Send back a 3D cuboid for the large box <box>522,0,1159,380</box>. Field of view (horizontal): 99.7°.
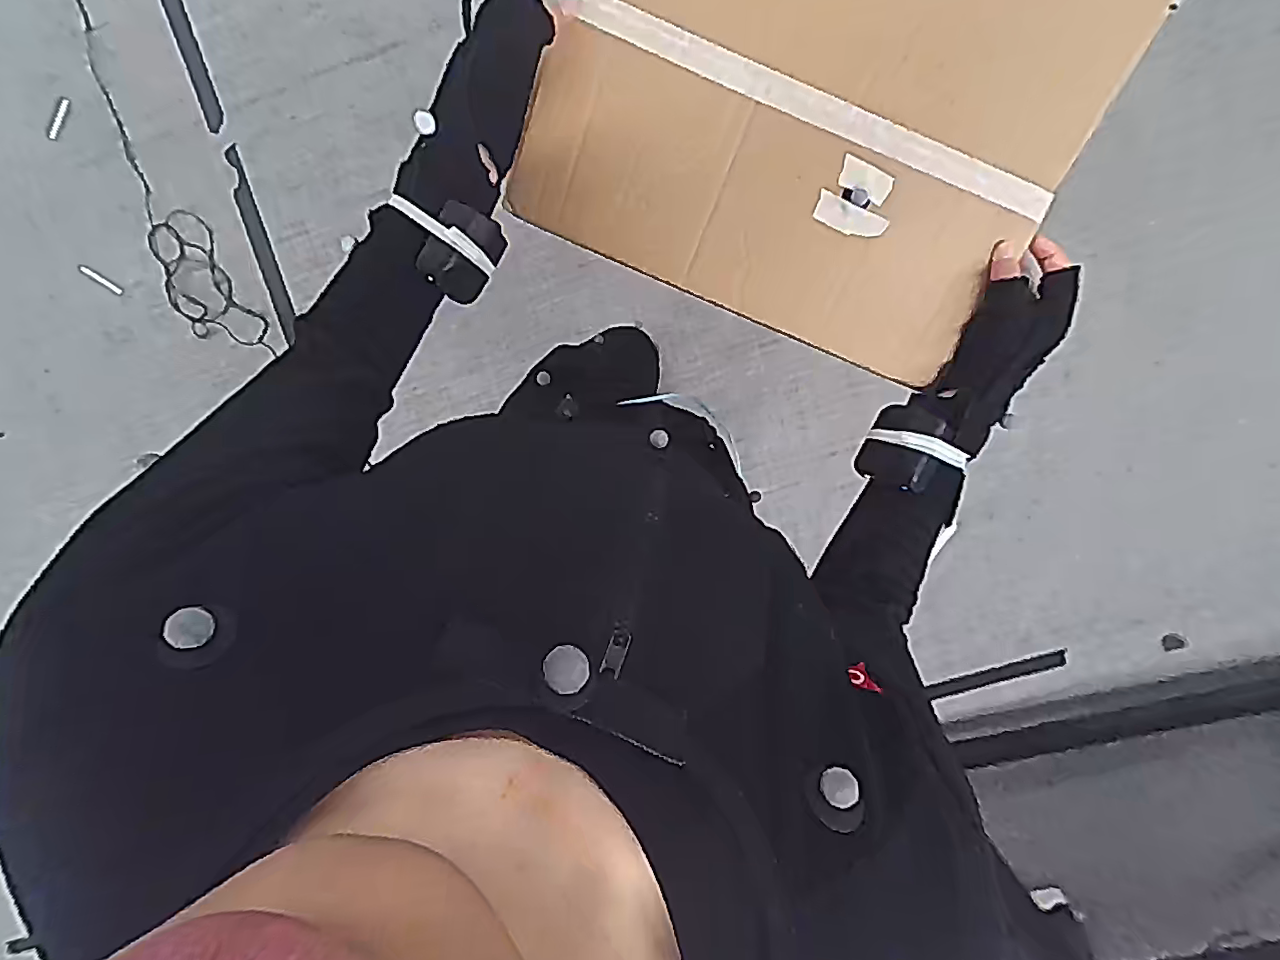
[{"bbox_3d":[0.145,-0.342,0.564,0.408,0.320,0.320,23,111,-3],"label":"large box"}]
